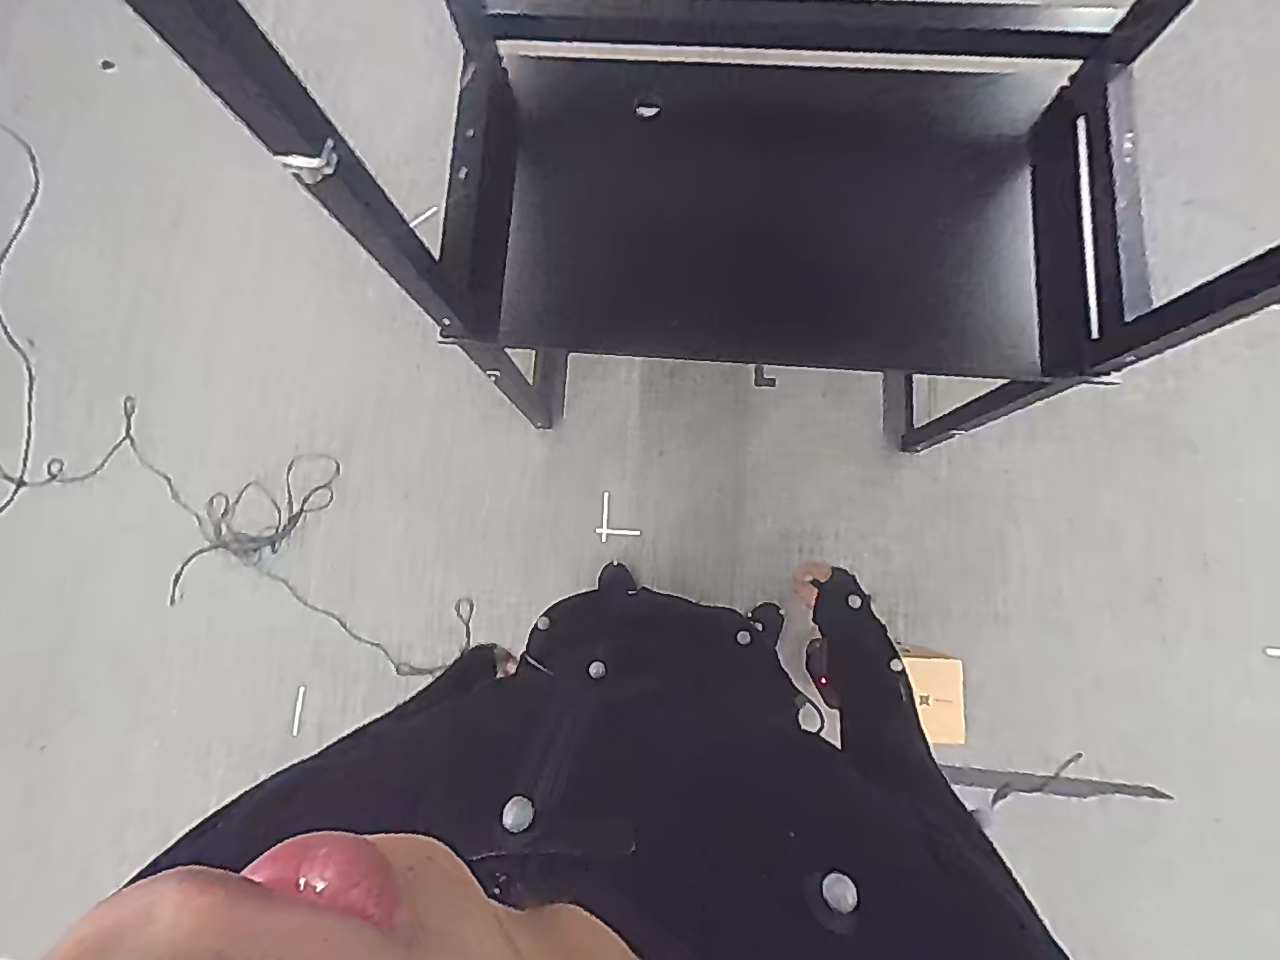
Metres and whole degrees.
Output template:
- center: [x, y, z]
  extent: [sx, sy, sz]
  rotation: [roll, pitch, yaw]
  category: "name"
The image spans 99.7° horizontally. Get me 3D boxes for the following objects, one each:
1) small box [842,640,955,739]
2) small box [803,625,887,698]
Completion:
- center: [0.552, 0.448, 1.179]
  extent: [0.179, 0.176, 0.168]
  rotation: [2, 83, 1]
  category: "small box"
- center: [0.566, 0.502, 1.504]
  extent: [0.179, 0.176, 0.168]
  rotation: [3, 82, 2]
  category: "small box"
